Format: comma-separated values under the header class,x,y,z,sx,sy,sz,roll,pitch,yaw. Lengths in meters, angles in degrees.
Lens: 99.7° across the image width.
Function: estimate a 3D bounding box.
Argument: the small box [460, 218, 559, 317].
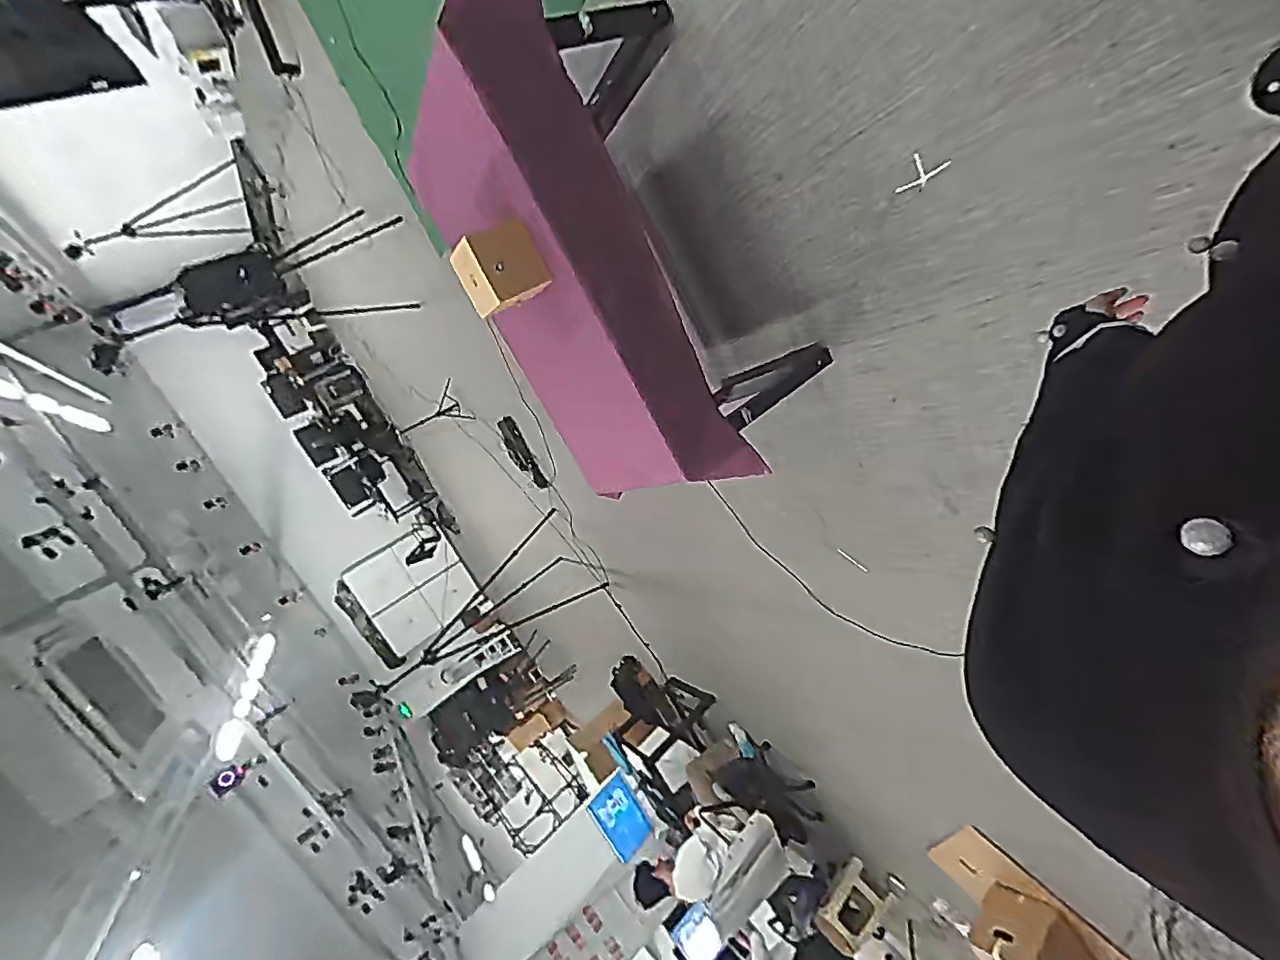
class,x,y,z,sx,sy,sz,roll,pitch,yaw
small box,-0.343,-0.564,1.438,0.168,0.176,0.179,1,121,58
